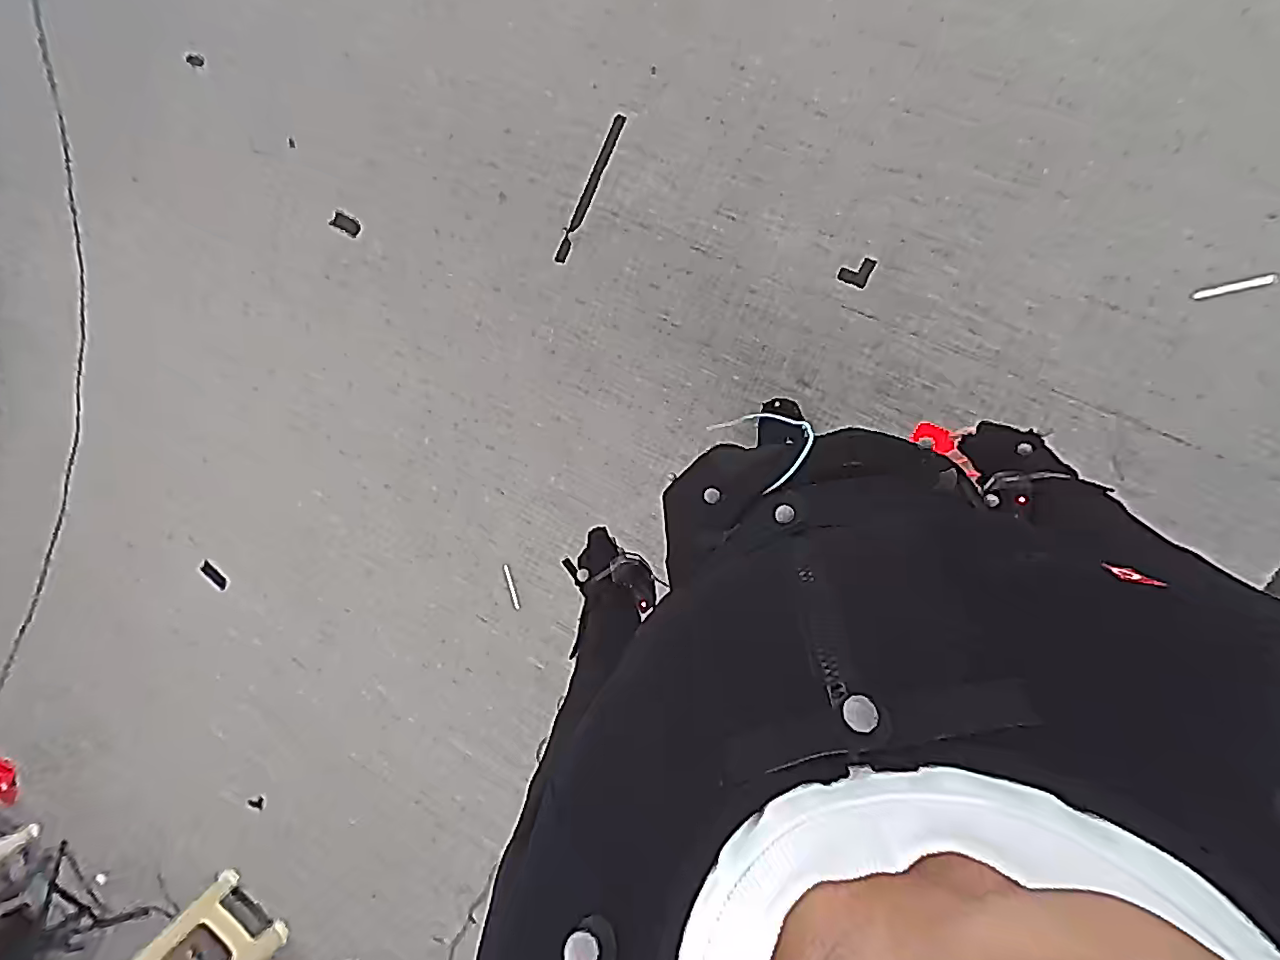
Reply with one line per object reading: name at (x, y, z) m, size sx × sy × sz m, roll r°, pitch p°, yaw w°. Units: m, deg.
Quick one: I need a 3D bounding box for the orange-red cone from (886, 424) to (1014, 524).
orange-red cone at (0.686, 0.001, 1.136) m, size 0.198 × 0.360 × 0.199 m, roll 26°, pitch 100°, yaw 9°
